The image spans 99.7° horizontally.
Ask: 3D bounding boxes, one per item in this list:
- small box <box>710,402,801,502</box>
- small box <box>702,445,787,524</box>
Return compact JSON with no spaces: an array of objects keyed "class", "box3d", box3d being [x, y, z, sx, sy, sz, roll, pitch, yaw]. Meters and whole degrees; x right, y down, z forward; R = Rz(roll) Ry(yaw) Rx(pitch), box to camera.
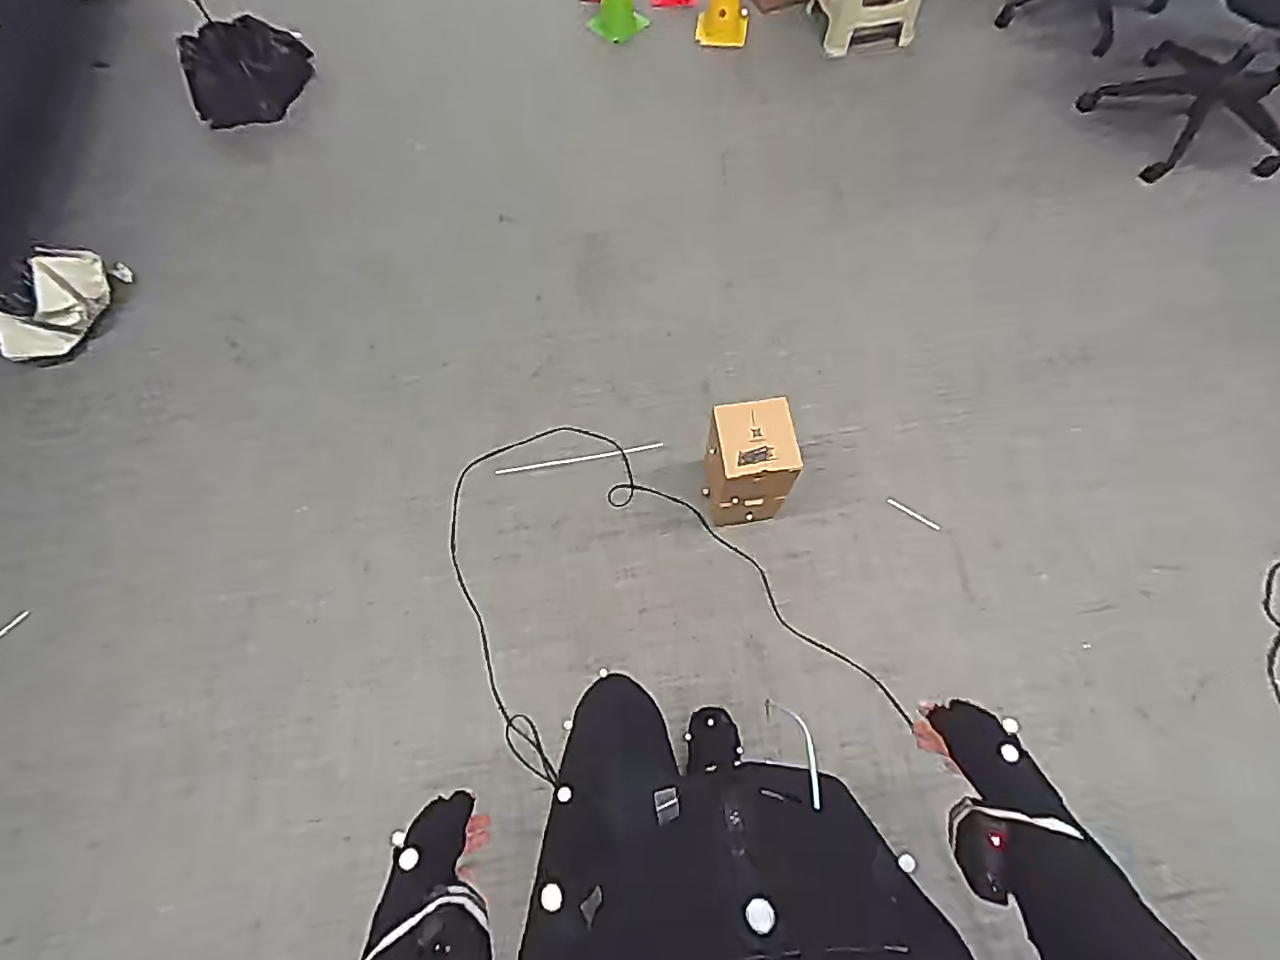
[{"class":"small box","box3d":[0.256,-0.056,1.242,0.168,0.176,0.179,-7,68,0]},{"class":"small box","box3d":[0.261,0.009,1.396,0.168,0.176,0.179,-9,71,-4]}]
